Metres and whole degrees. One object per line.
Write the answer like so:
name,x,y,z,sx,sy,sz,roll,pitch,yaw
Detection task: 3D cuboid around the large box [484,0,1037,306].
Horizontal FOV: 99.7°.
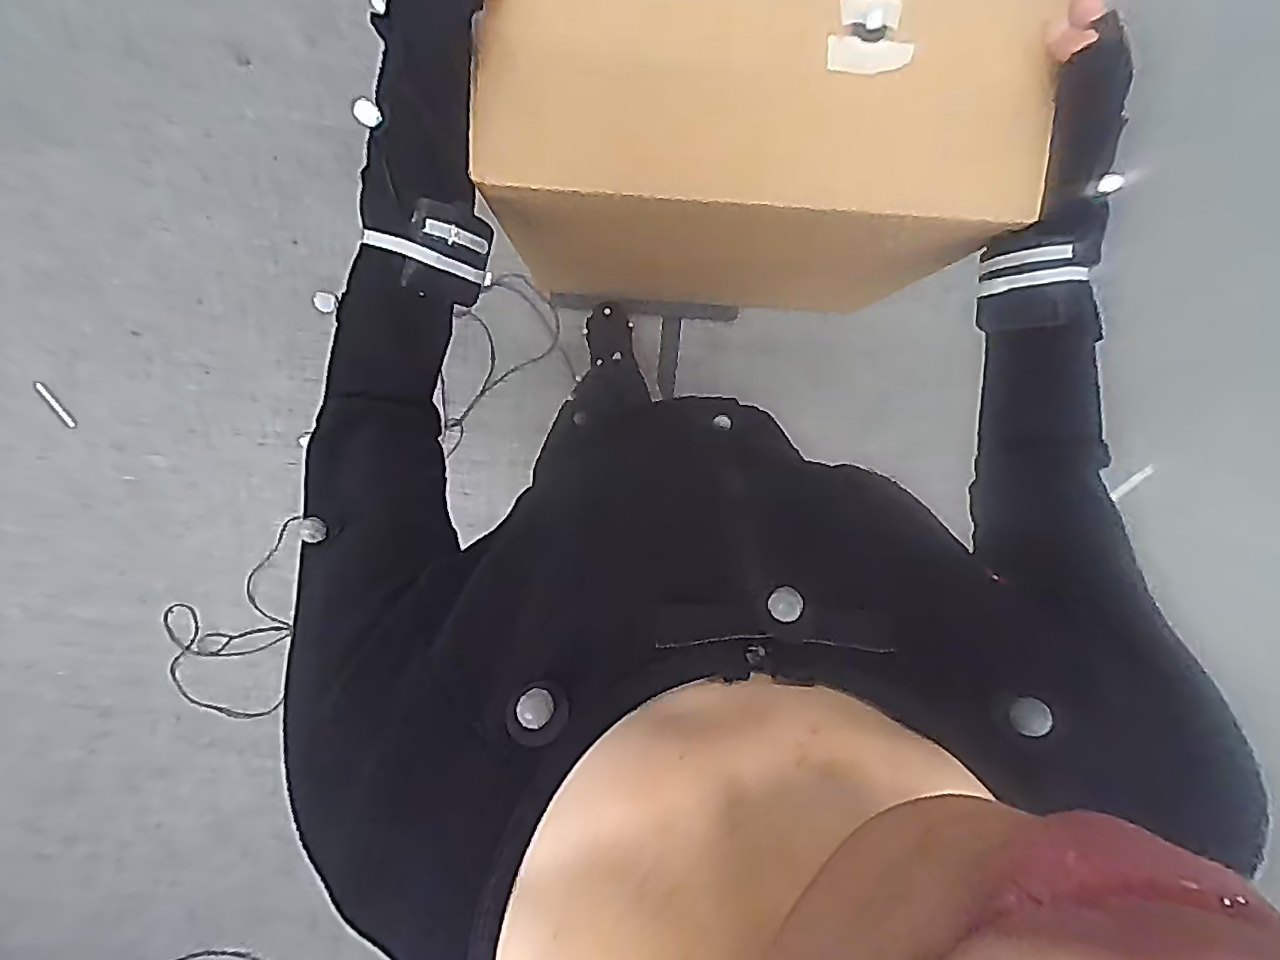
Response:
large box,0.084,-0.371,0.534,0.408,0.320,0.320,3,95,-2
